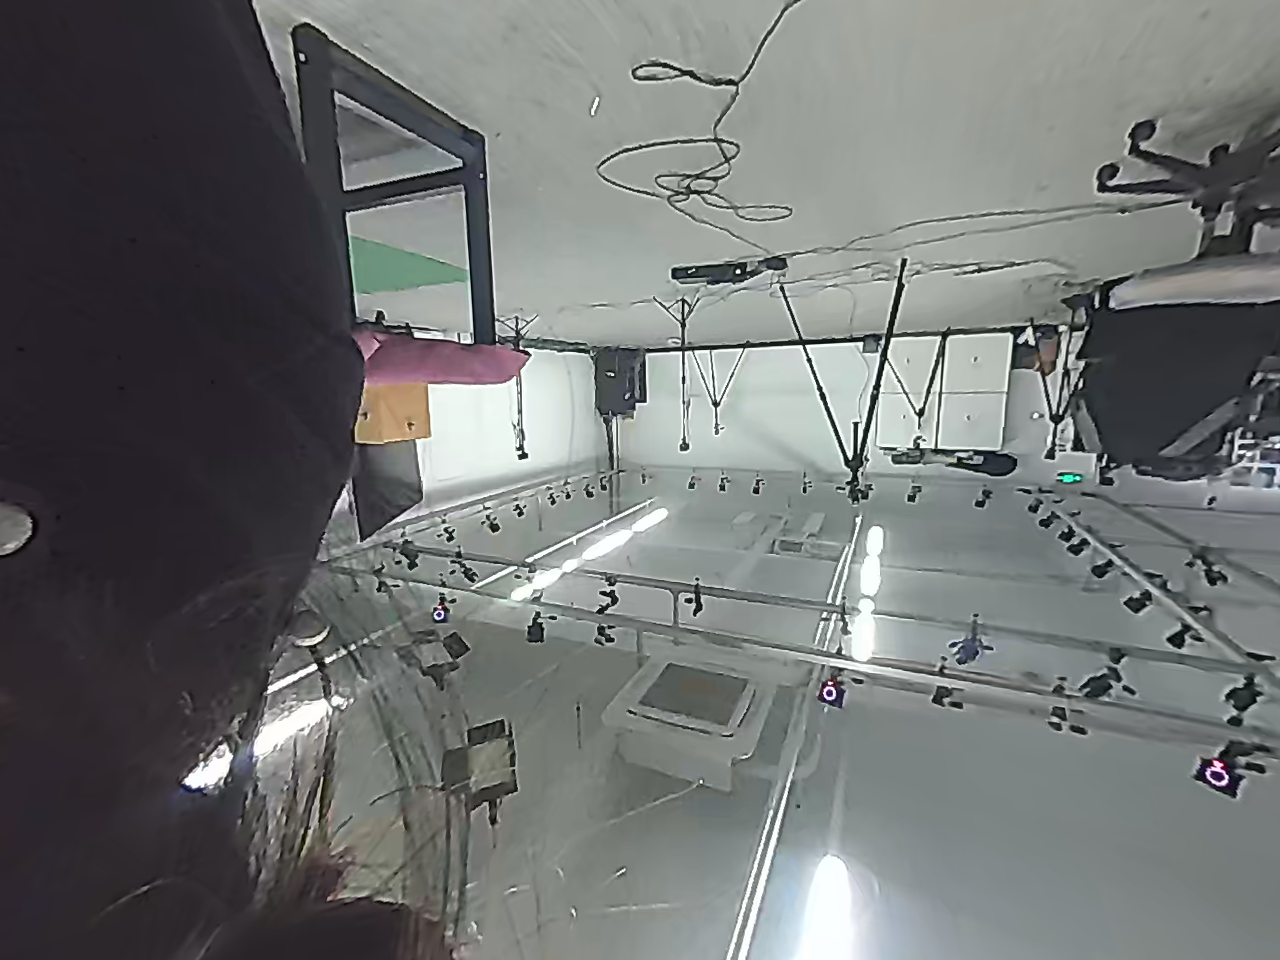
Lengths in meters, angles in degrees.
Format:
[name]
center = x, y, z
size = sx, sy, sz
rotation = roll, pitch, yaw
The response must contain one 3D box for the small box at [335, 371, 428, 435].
[small box]
center = -0.737, -0.220, 1.539
size = 0.168, 0.176, 0.179
rotation = 4, -168, 24
